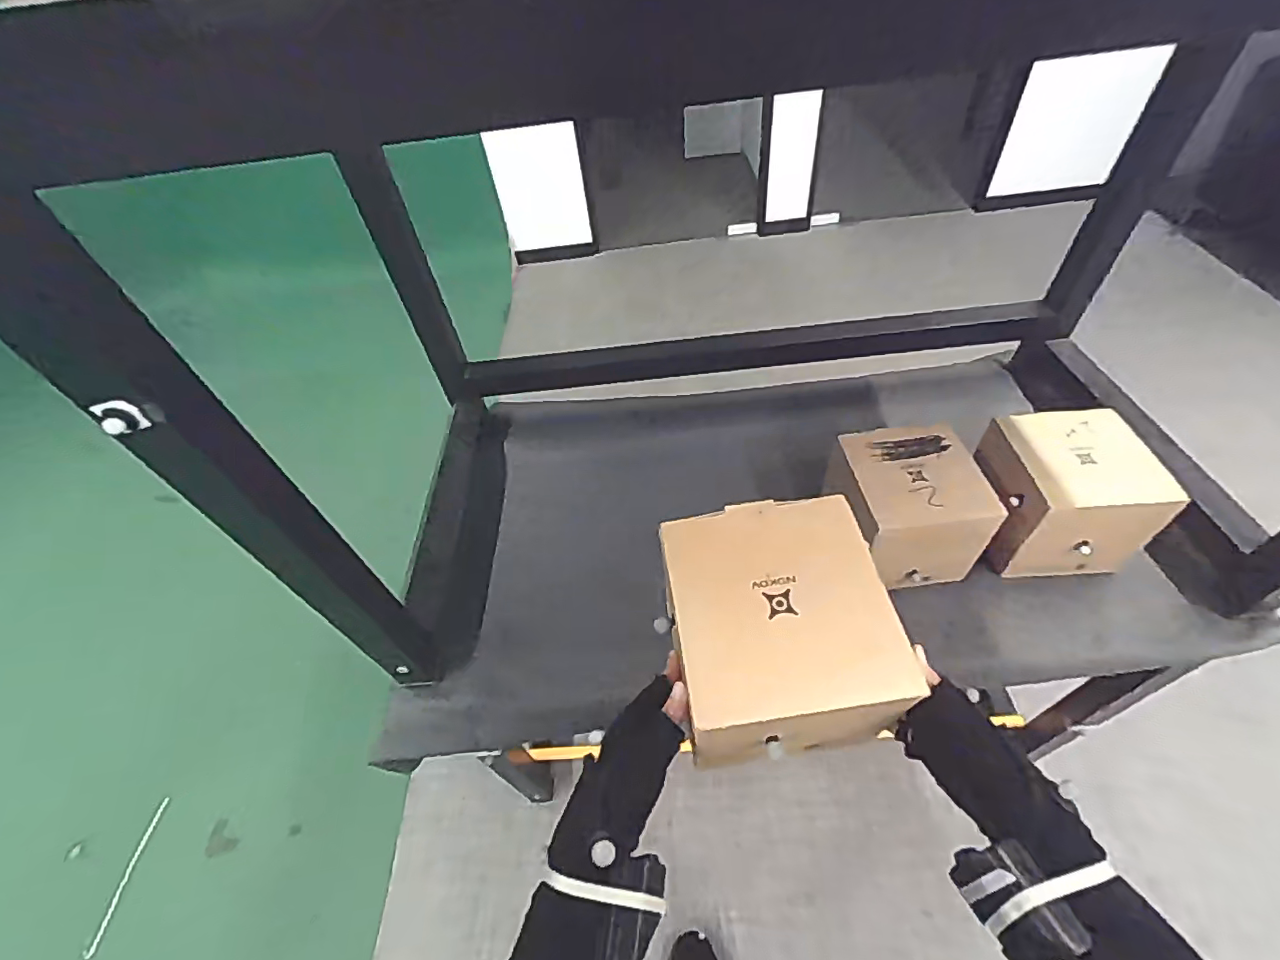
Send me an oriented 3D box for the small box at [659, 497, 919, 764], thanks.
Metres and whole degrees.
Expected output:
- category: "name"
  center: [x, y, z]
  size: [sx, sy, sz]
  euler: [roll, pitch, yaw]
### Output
- category: "small box"
  center: [0.114, 0.143, 0.487]
  size: [0.168, 0.176, 0.179]
  euler: [-9, 51, 0]
